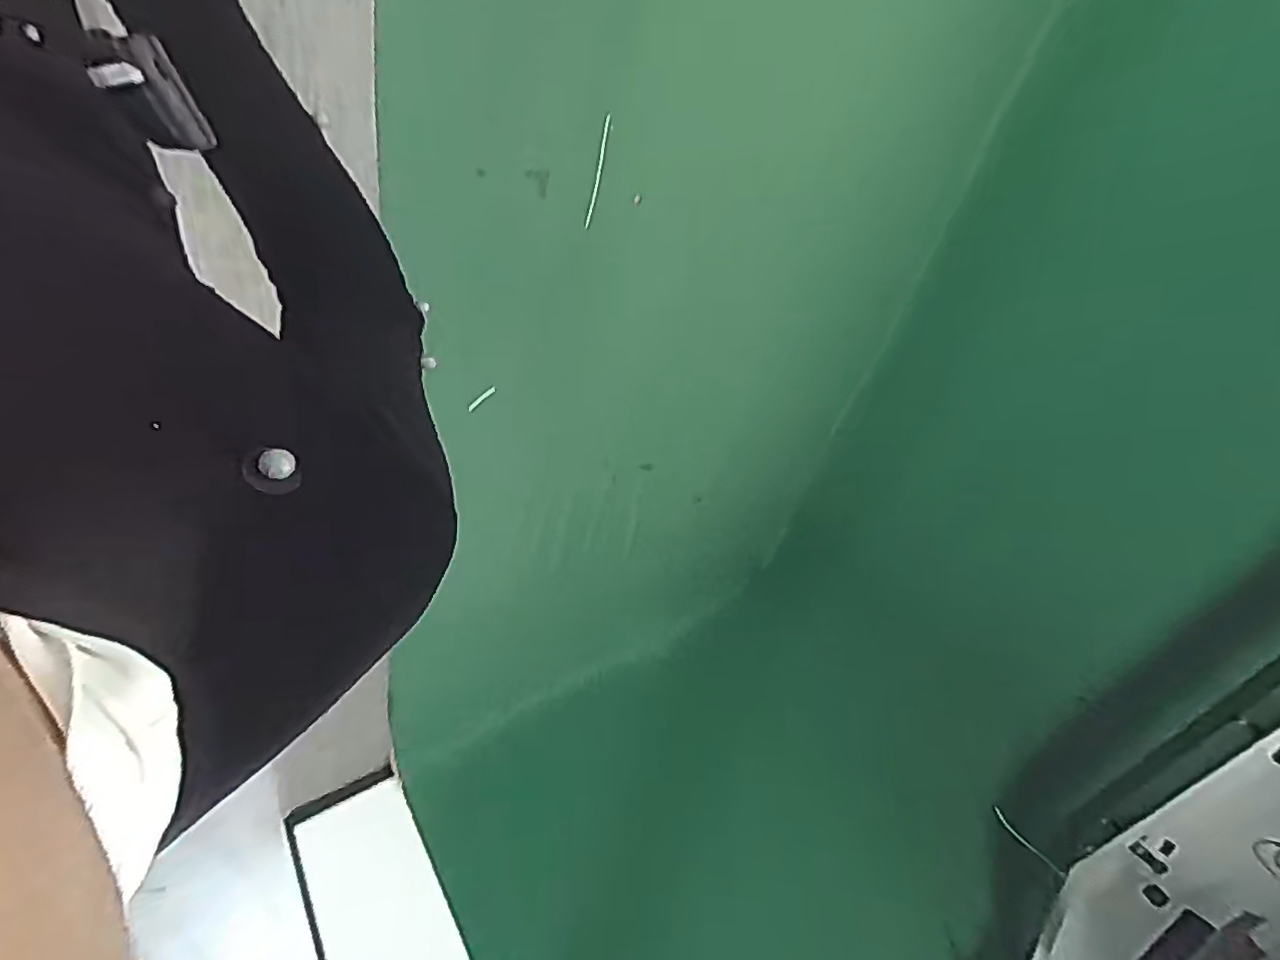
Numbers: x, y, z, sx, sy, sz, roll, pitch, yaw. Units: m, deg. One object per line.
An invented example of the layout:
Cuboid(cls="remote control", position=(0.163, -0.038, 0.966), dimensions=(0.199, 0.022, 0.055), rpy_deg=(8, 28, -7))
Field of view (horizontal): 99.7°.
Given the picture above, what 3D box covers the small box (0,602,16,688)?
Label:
Cuboid(cls="small box", position=(-1.637, 0.411, 1.287), dimensions=(0.179, 0.176, 0.168), rpy_deg=(-11, 130, -39))
